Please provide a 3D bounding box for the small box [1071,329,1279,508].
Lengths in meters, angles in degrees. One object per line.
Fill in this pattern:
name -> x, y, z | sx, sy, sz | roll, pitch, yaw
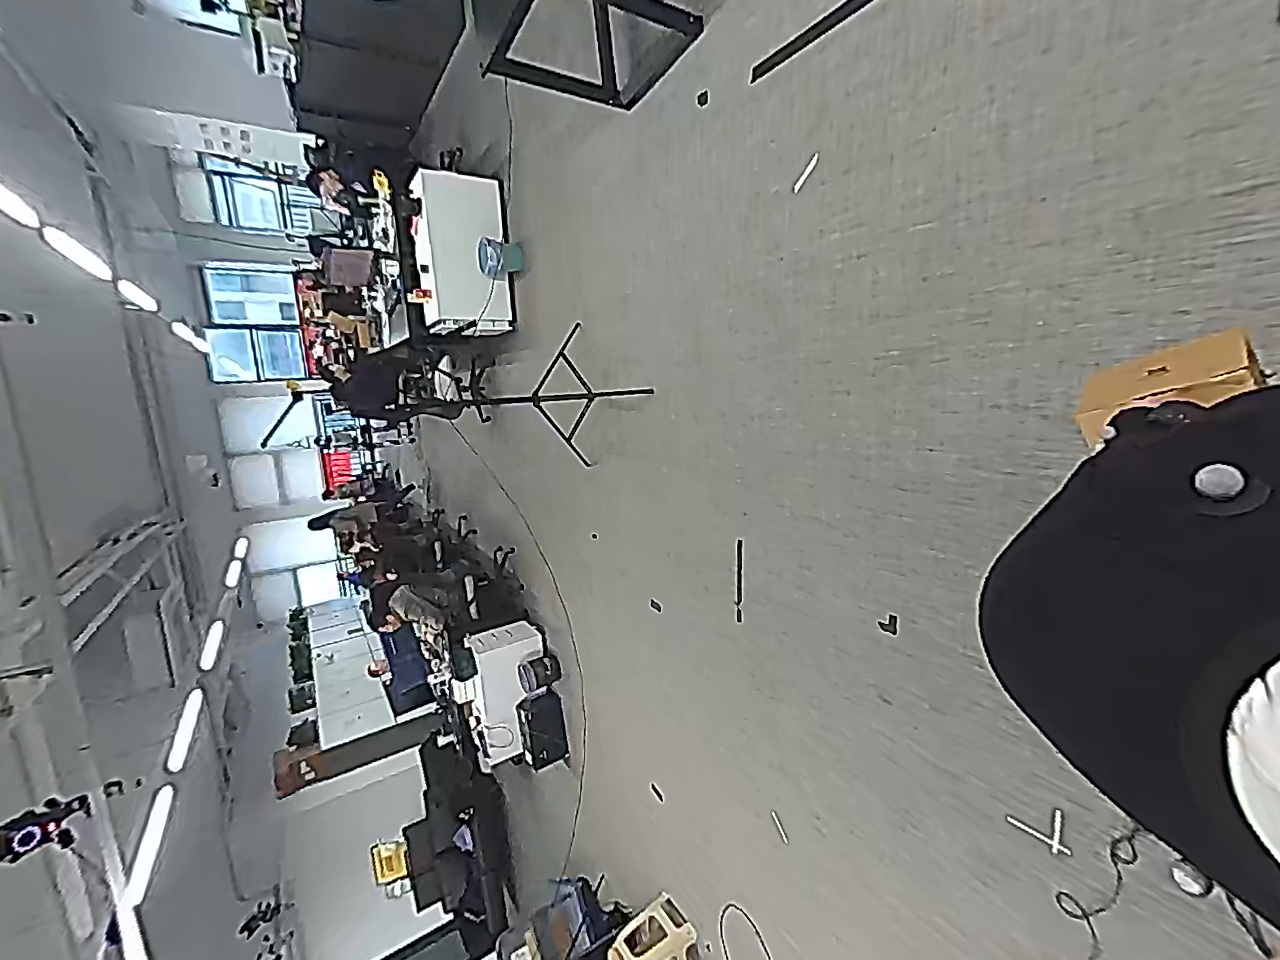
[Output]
small box -> 0.730, -0.073, 0.735 | 0.168, 0.179, 0.176 | -21, 100, 52
